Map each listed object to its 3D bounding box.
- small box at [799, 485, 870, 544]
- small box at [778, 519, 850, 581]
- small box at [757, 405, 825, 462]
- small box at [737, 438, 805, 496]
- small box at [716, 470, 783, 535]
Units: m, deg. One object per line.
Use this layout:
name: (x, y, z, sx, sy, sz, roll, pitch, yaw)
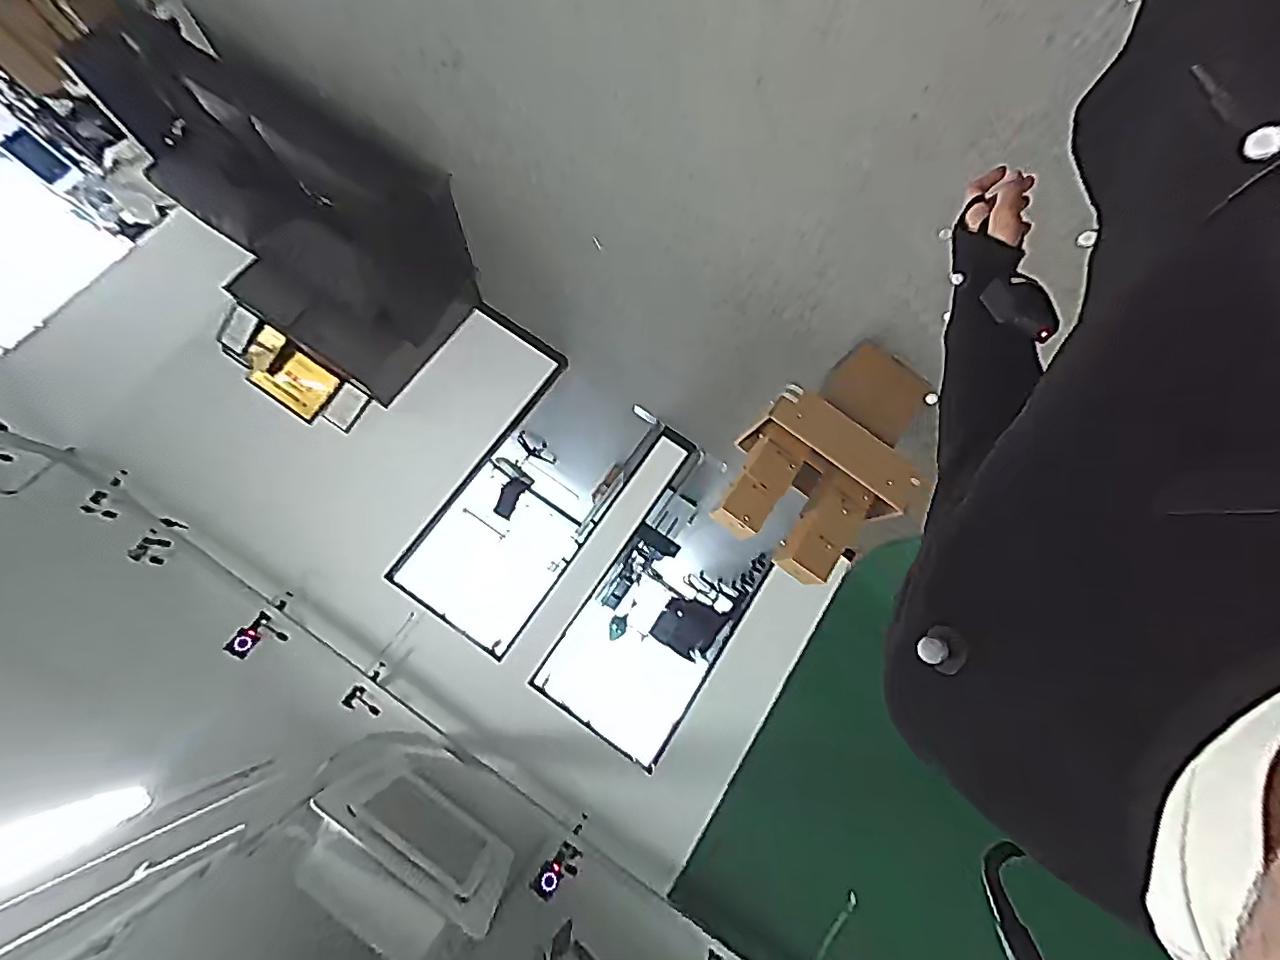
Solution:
small box: (0.760, 0.140, 2.107, 0.168, 0.176, 0.179, 36, 165, -3)
small box: (0.667, 0.266, 2.064, 0.168, 0.176, 0.179, 35, 165, -2)
small box: (0.604, -0.169, 2.154, 0.168, 0.176, 0.179, 36, 164, 0)
small box: (0.514, -0.041, 2.105, 0.168, 0.176, 0.179, 37, 165, -2)
small box: (0.420, 0.088, 2.067, 0.168, 0.176, 0.179, 36, 165, 1)
